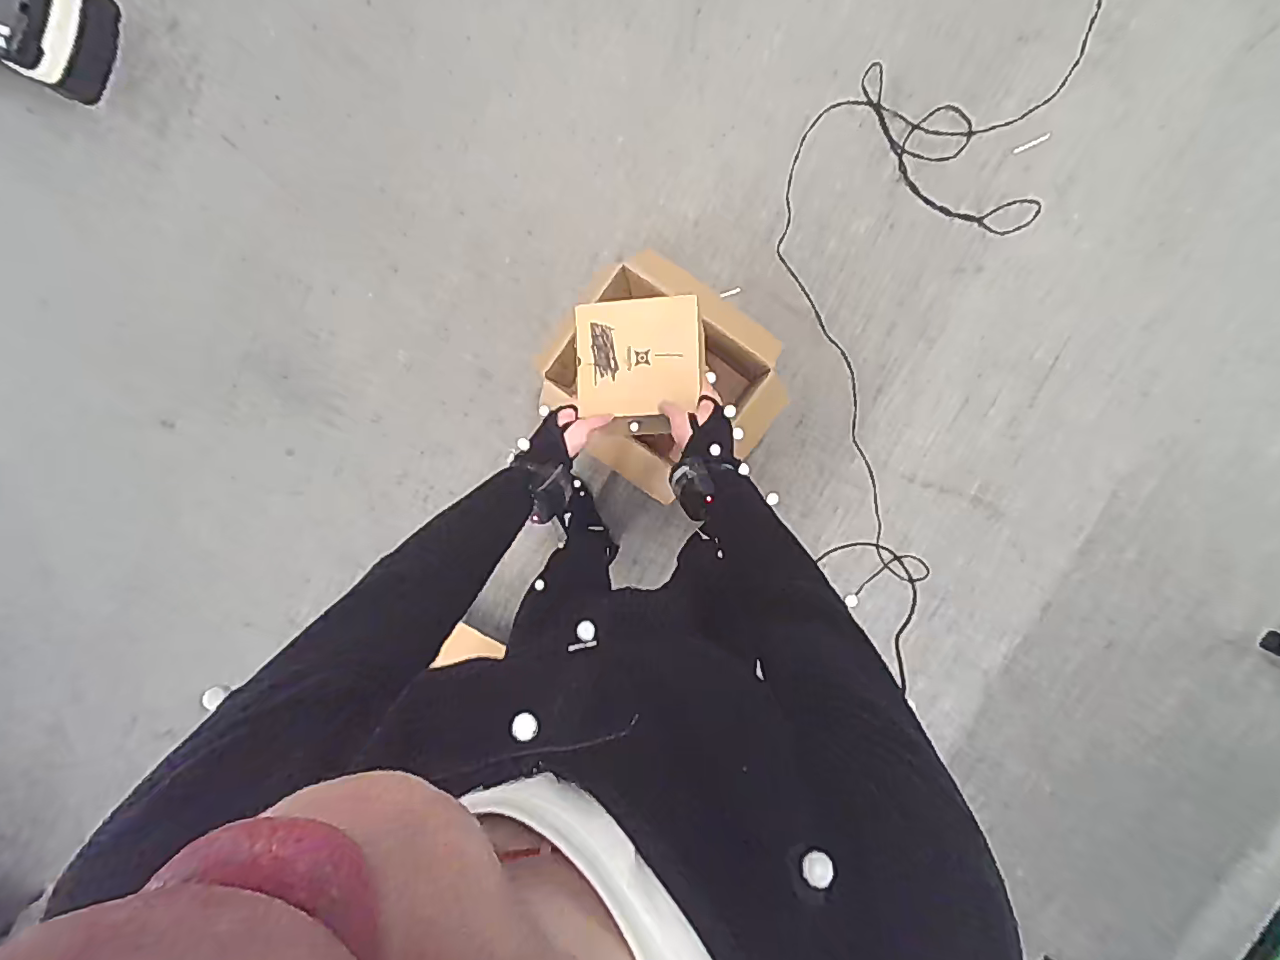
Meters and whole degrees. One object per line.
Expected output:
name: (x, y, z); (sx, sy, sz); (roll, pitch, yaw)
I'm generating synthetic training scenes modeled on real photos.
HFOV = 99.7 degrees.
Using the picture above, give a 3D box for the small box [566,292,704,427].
small box: (0.000, -0.170, 0.812); (0.179, 0.176, 0.168); (1, 89, 11)
